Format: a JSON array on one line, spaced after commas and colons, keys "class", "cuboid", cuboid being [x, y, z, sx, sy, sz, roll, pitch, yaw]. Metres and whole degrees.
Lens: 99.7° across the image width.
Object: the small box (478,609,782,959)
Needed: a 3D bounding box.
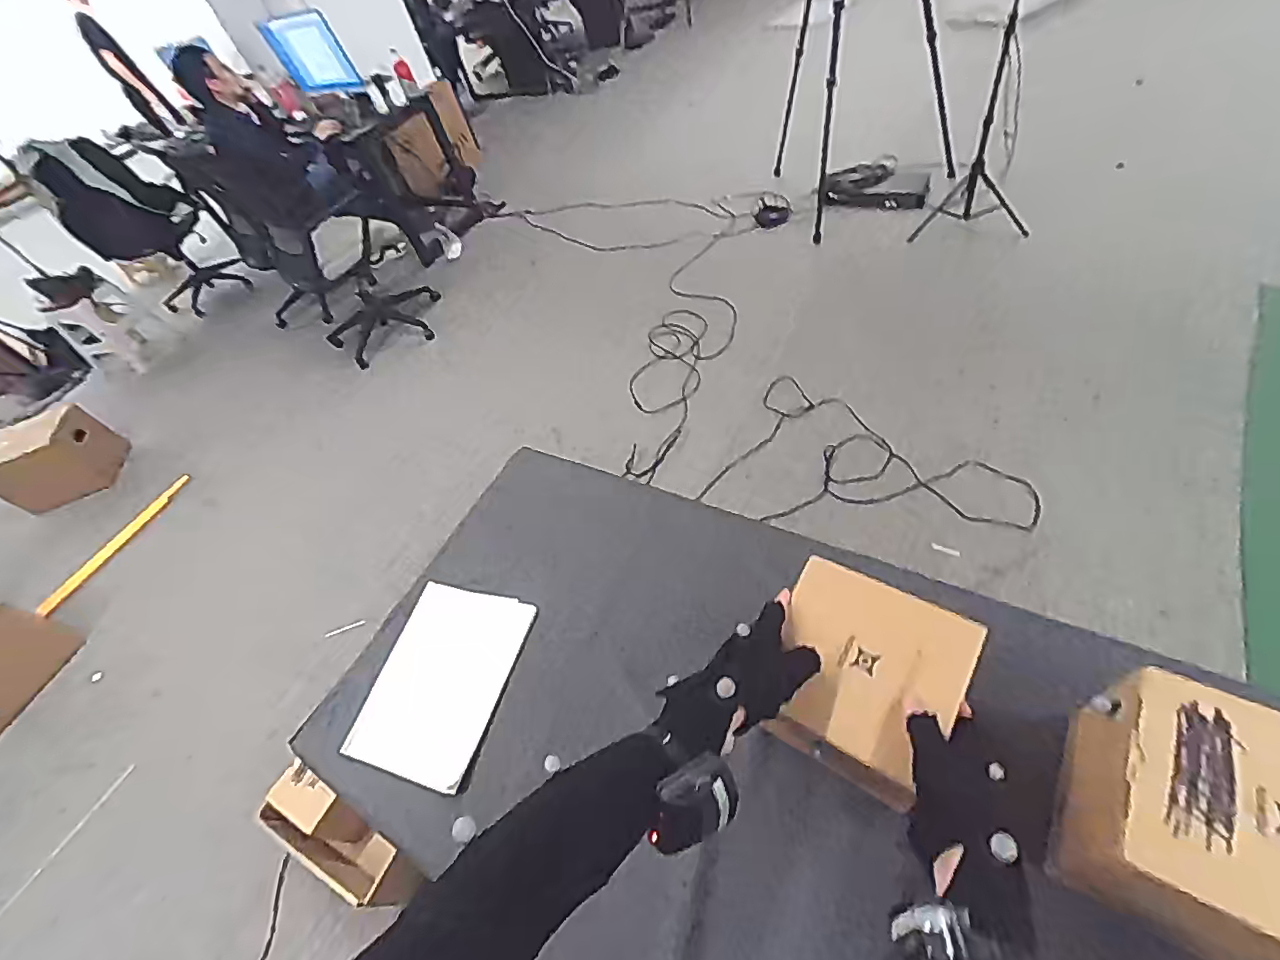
[{"class": "small box", "cuboid": [-0.001, 0.233, 0.461, 0.176, 0.179, 0.168, 26, 101, 21]}]
